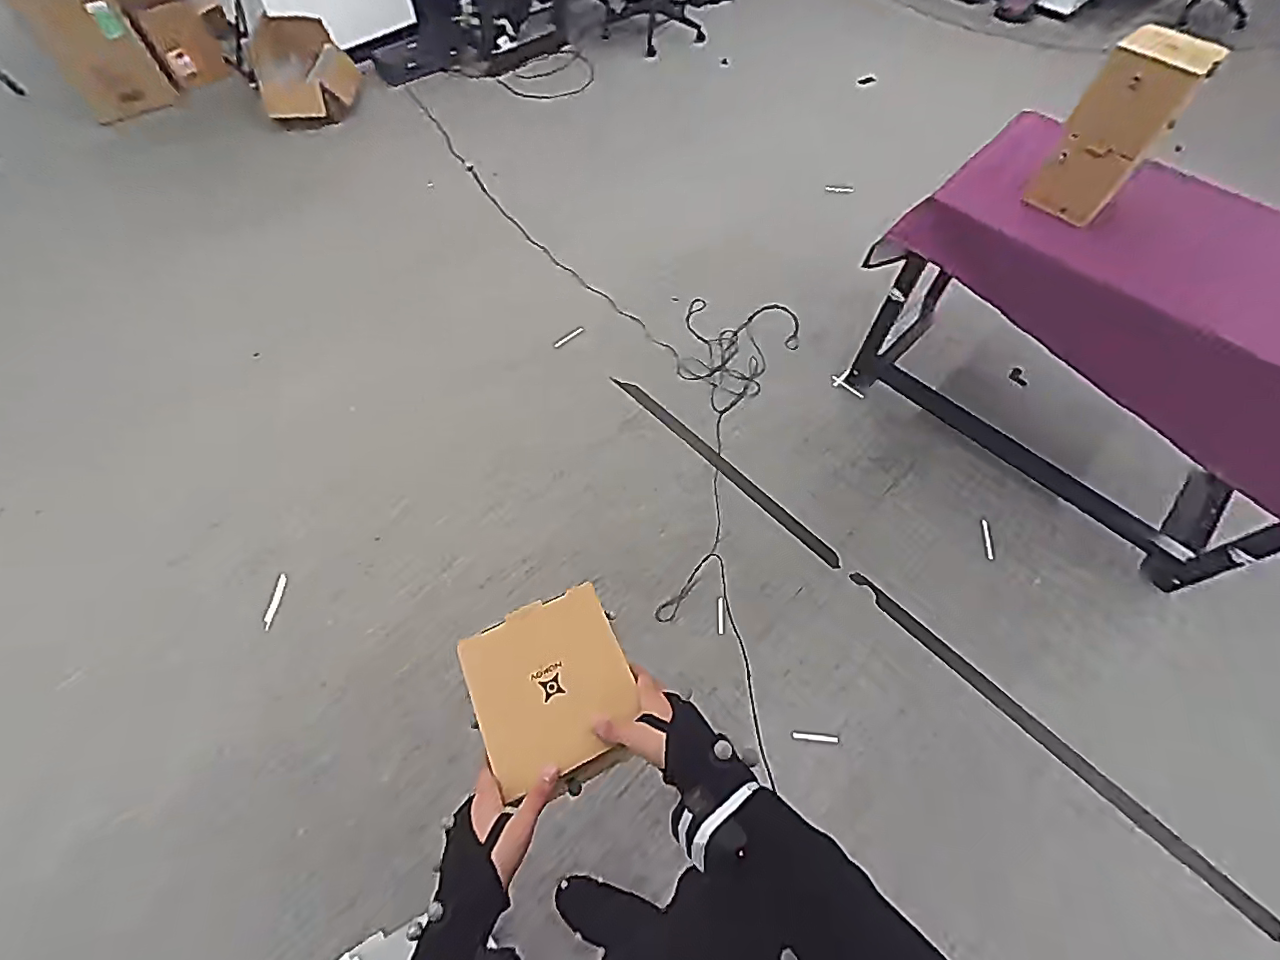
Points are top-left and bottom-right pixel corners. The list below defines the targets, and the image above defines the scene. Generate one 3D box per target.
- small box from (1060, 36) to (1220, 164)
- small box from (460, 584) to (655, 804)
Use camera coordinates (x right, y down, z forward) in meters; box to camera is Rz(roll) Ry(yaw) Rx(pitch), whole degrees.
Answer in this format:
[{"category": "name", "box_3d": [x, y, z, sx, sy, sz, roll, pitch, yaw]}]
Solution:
[{"category": "small box", "box_3d": [1.106, -0.847, 1.211, 0.168, 0.176, 0.179, -37, 67, -20]}, {"category": "small box", "box_3d": [-0.089, 0.258, 0.645, 0.168, 0.176, 0.179, -23, 59, -12]}]
